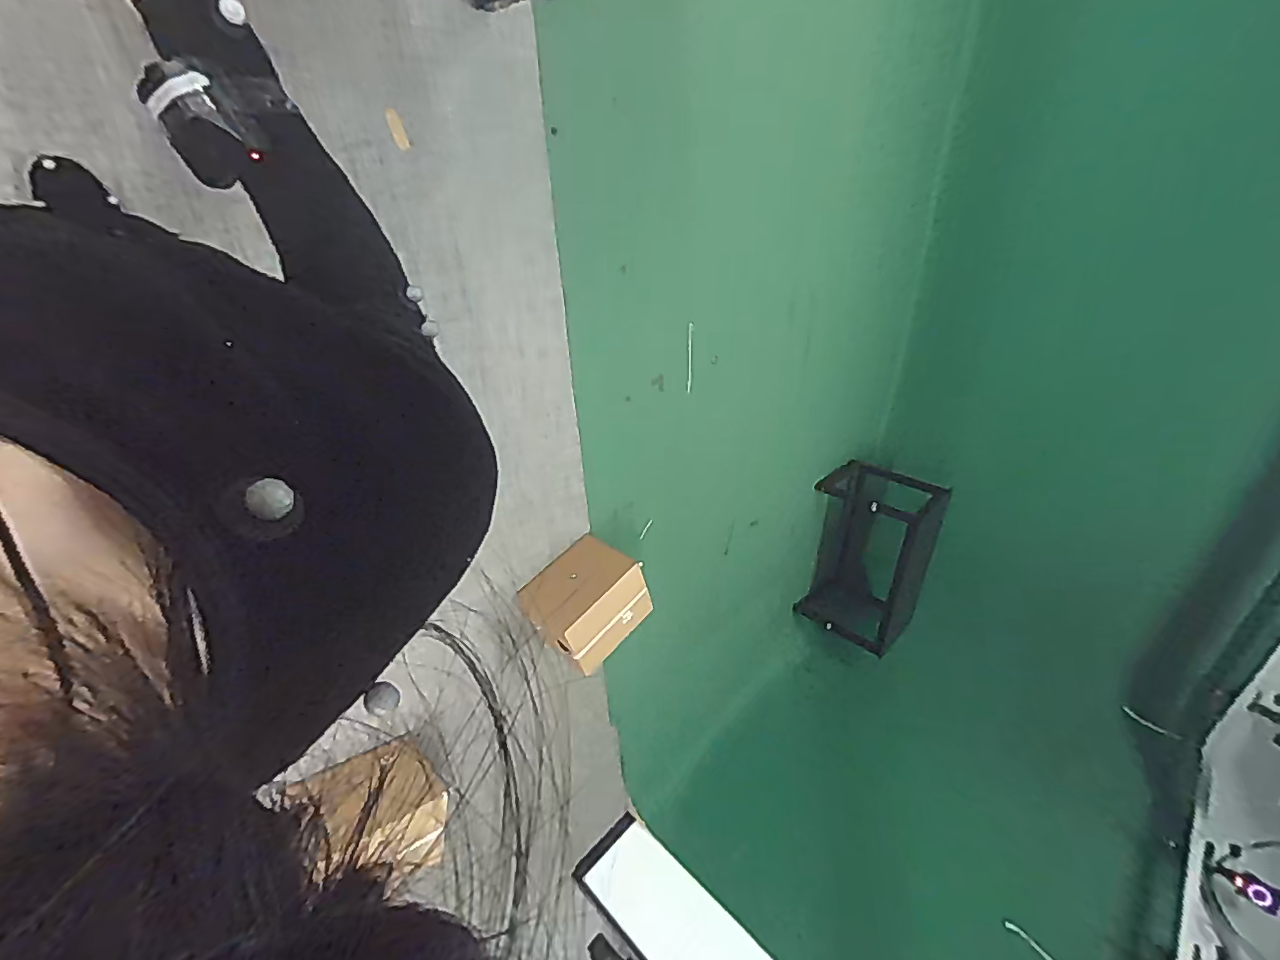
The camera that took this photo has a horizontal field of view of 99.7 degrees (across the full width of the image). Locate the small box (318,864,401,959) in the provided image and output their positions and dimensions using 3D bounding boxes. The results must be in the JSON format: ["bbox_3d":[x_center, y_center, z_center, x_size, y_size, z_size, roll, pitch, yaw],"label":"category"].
[{"bbox_3d":[-0.815,1.275,1.566,0.168,0.176,0.179,-7,116,-47],"label":"small box"}]

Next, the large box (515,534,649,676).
[{"bbox_3d":[-0.229,0.500,2.214,0.408,0.320,0.320,-42,137,-28],"label":"large box"}]
